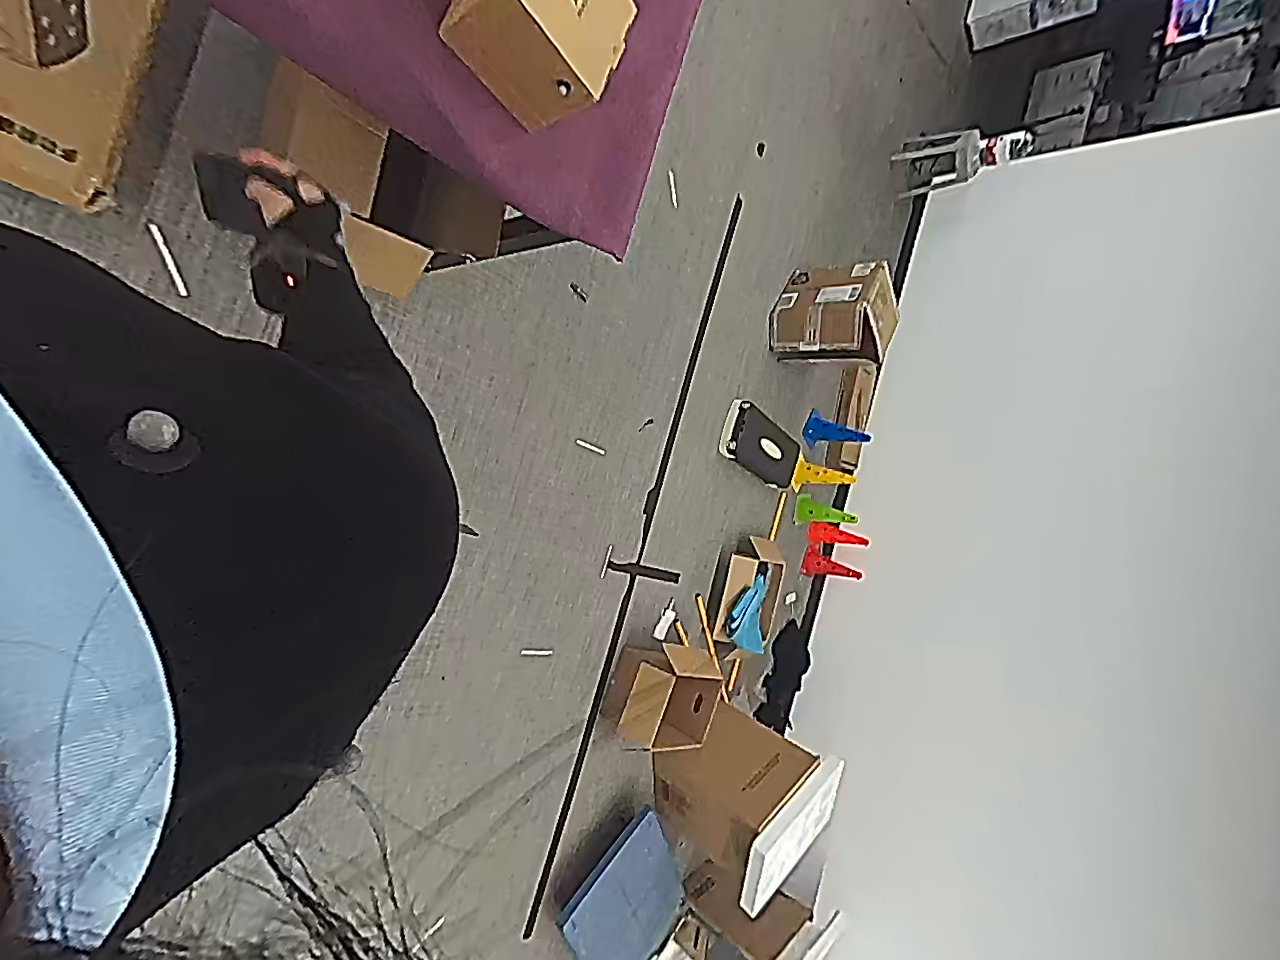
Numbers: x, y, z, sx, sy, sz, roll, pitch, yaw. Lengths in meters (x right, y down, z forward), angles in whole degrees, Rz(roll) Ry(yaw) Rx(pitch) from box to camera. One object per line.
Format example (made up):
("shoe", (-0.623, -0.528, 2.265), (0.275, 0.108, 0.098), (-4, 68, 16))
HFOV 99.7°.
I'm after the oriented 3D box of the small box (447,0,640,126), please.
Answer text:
("small box", (-0.137, -0.644, 0.758), (0.179, 0.176, 0.168), (29, 78, -48))
